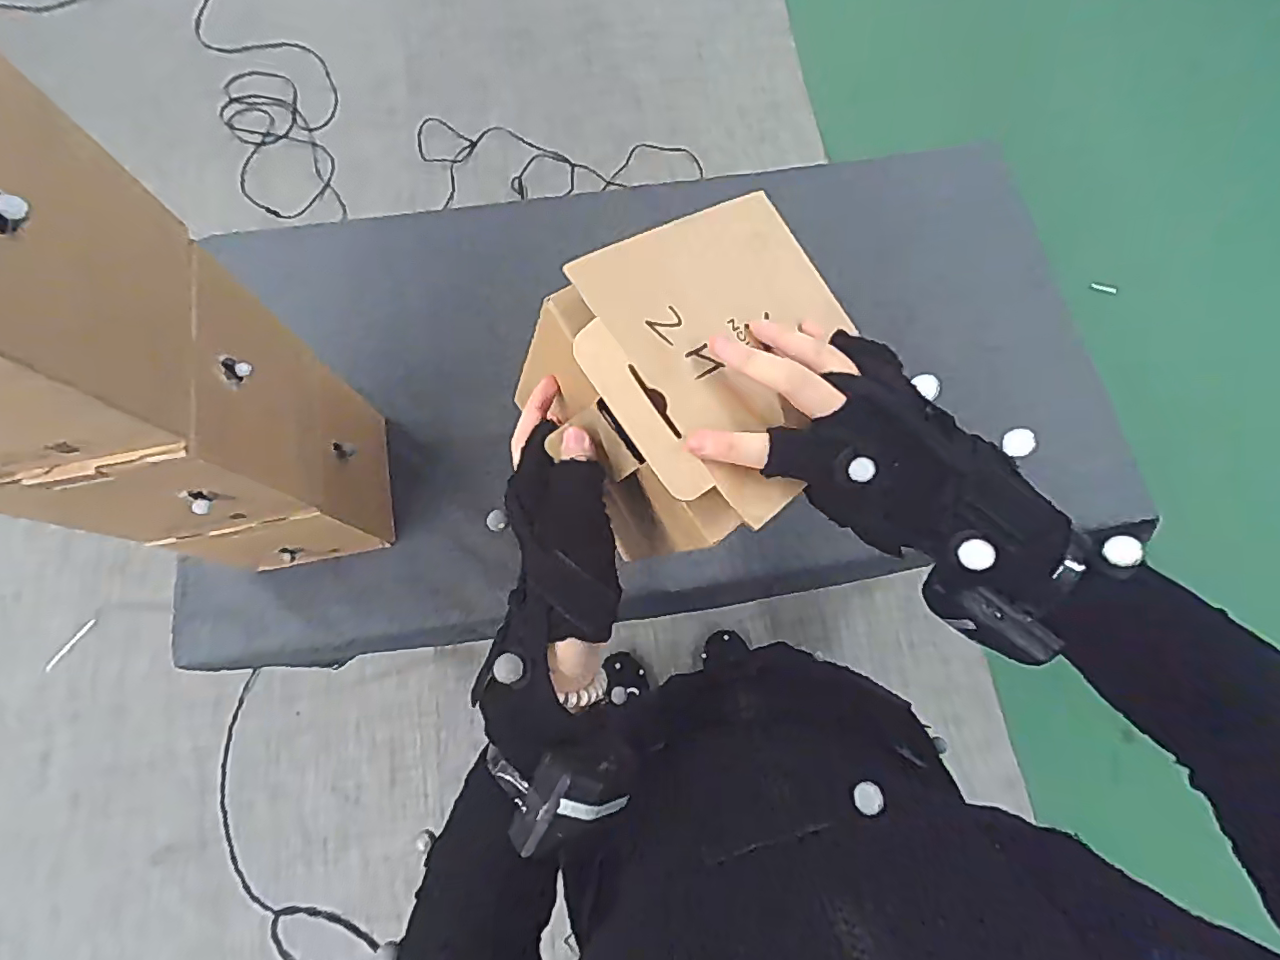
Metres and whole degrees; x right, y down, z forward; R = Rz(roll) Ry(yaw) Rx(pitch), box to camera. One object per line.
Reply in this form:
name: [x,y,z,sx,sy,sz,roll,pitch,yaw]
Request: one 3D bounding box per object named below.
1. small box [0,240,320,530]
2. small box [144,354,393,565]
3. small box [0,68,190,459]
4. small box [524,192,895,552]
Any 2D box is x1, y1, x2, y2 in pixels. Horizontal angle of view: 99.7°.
small box: [-0.393,-0.062,0.452,0.168,0.176,0.179,-10,74,-4]
small box: [-0.396,-0.013,0.607,0.168,0.176,0.179,-11,74,-4]
small box: [-0.393,-0.116,0.297,0.168,0.176,0.179,-11,74,-5]
small box: [0.035,-0.063,0.398,0.179,0.176,0.168,-34,91,-22]
